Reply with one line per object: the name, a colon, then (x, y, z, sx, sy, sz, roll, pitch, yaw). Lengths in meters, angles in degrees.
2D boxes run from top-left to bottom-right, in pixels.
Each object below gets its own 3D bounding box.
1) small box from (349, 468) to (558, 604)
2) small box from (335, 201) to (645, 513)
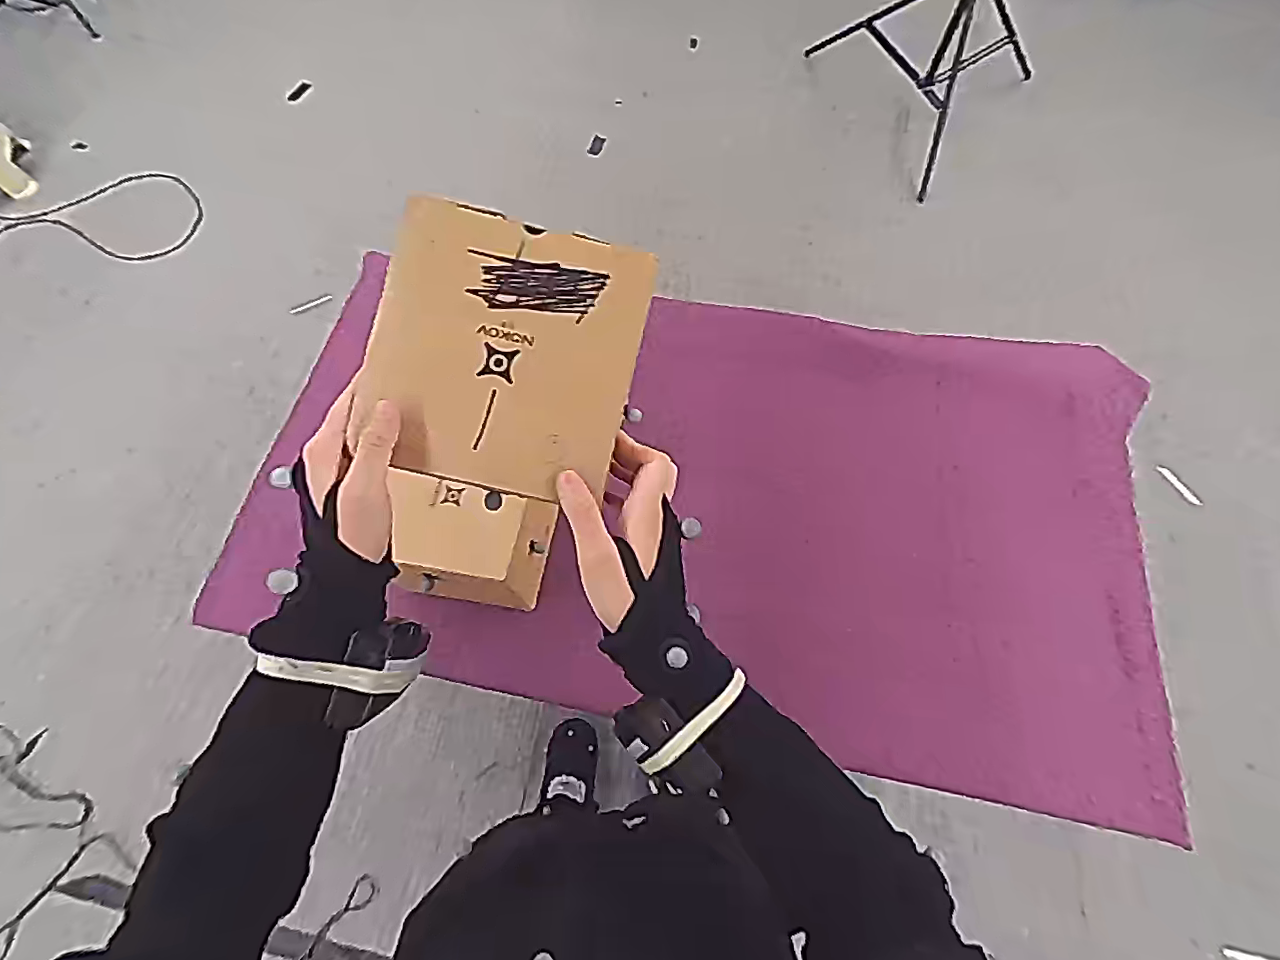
small box: (-0.207, 0.049, 0.664, 0.179, 0.176, 0.168, 9, 67, 5)
small box: (-0.100, -0.075, 0.428, 0.168, 0.176, 0.179, 13, 86, -3)
